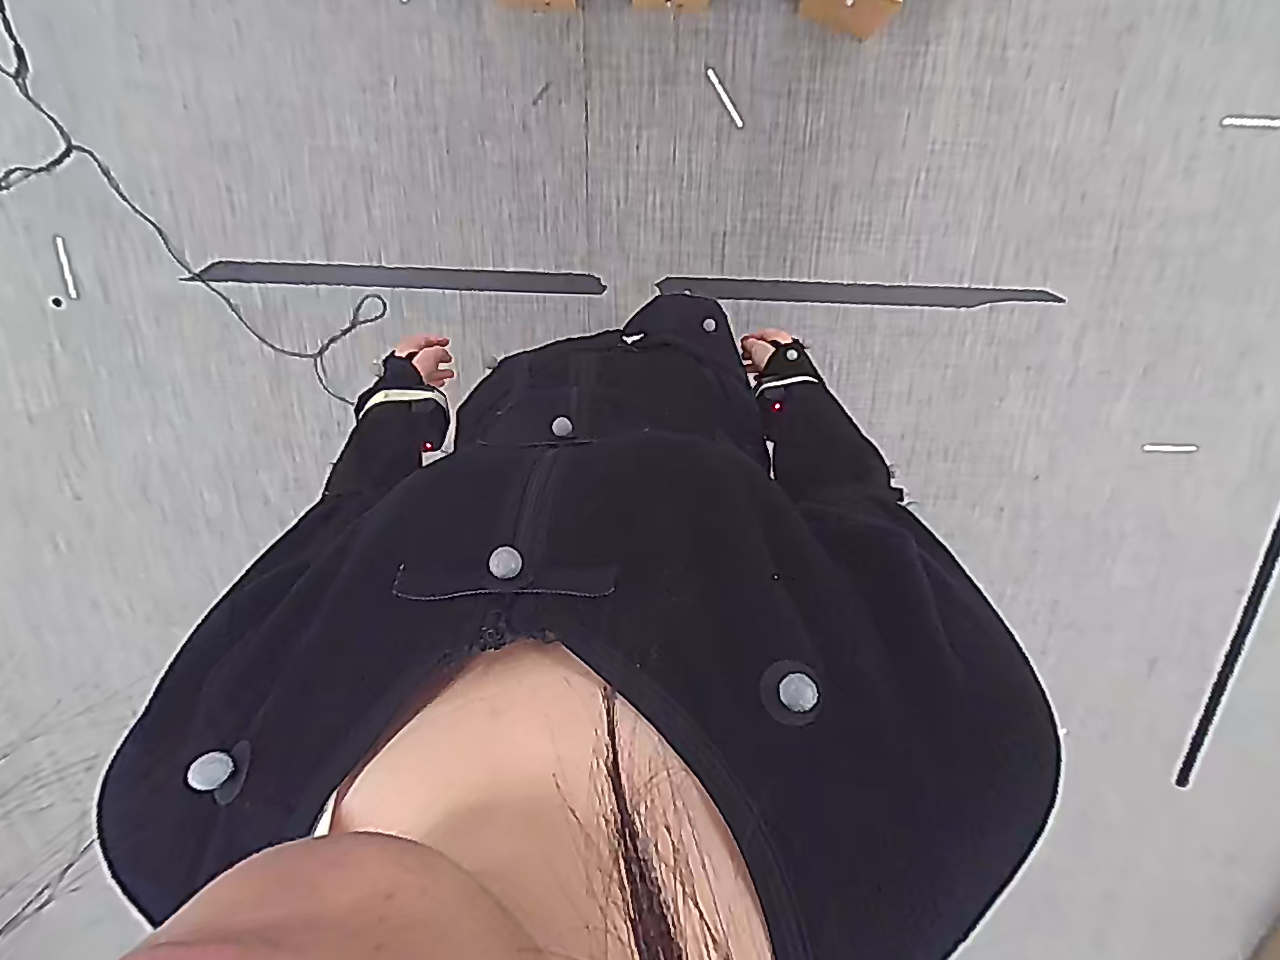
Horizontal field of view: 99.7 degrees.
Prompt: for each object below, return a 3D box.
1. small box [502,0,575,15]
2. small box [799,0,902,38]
[{"bbox_3d":[-0.215,-1.088,1.083,0.168,0.176,0.179,3,106,-3],"label":"small box"},{"bbox_3d":[0.457,-1.062,1.115,0.179,0.176,0.168,17,107,-6],"label":"small box"}]
